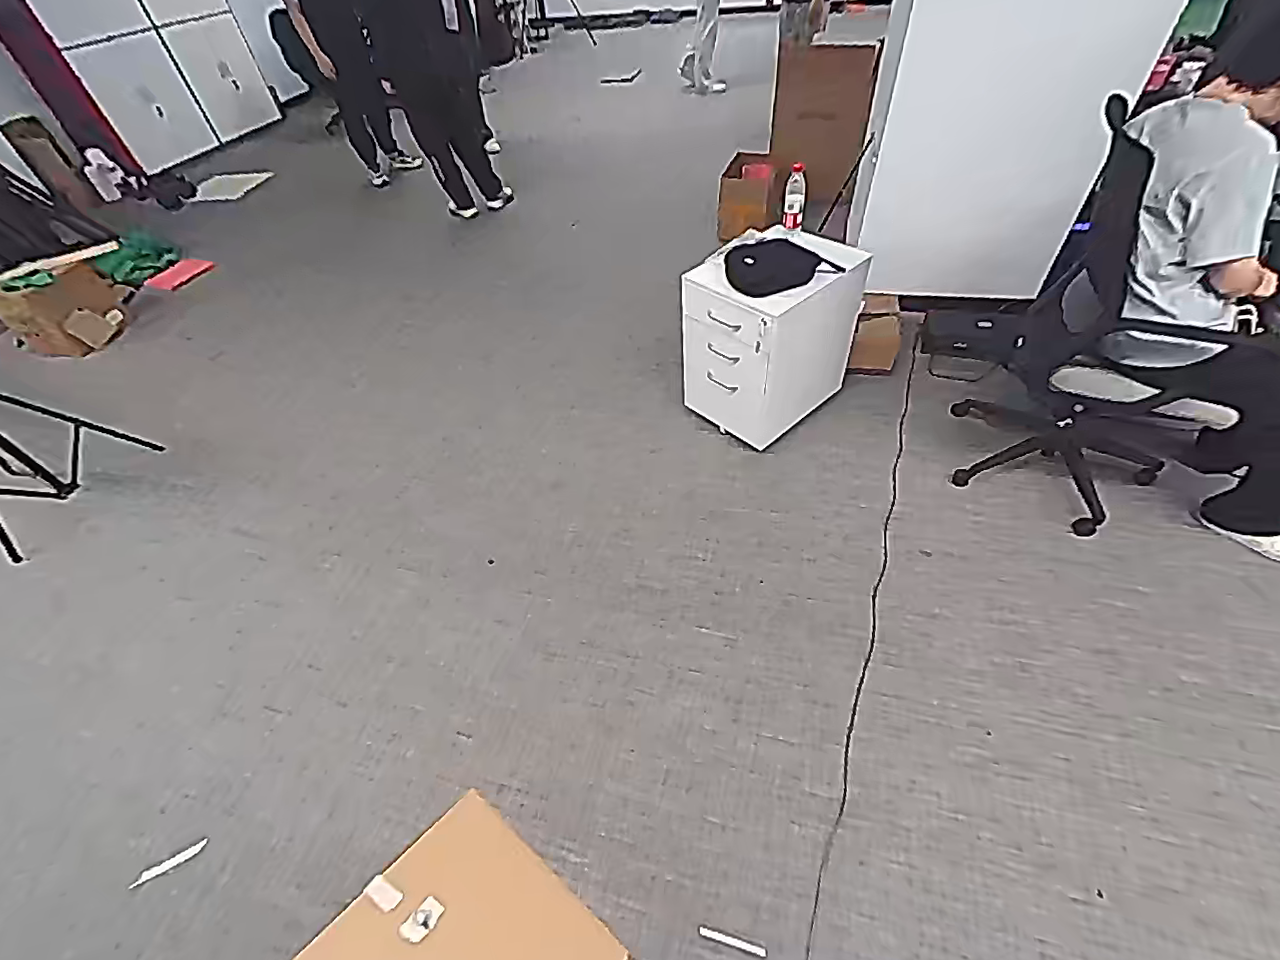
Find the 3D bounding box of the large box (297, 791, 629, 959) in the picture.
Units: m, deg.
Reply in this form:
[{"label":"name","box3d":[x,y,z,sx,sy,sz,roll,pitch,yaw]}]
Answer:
[{"label":"large box","box3d":[-0.207,0.724,0.720,0.320,0.408,0.320,23,42,38]}]
